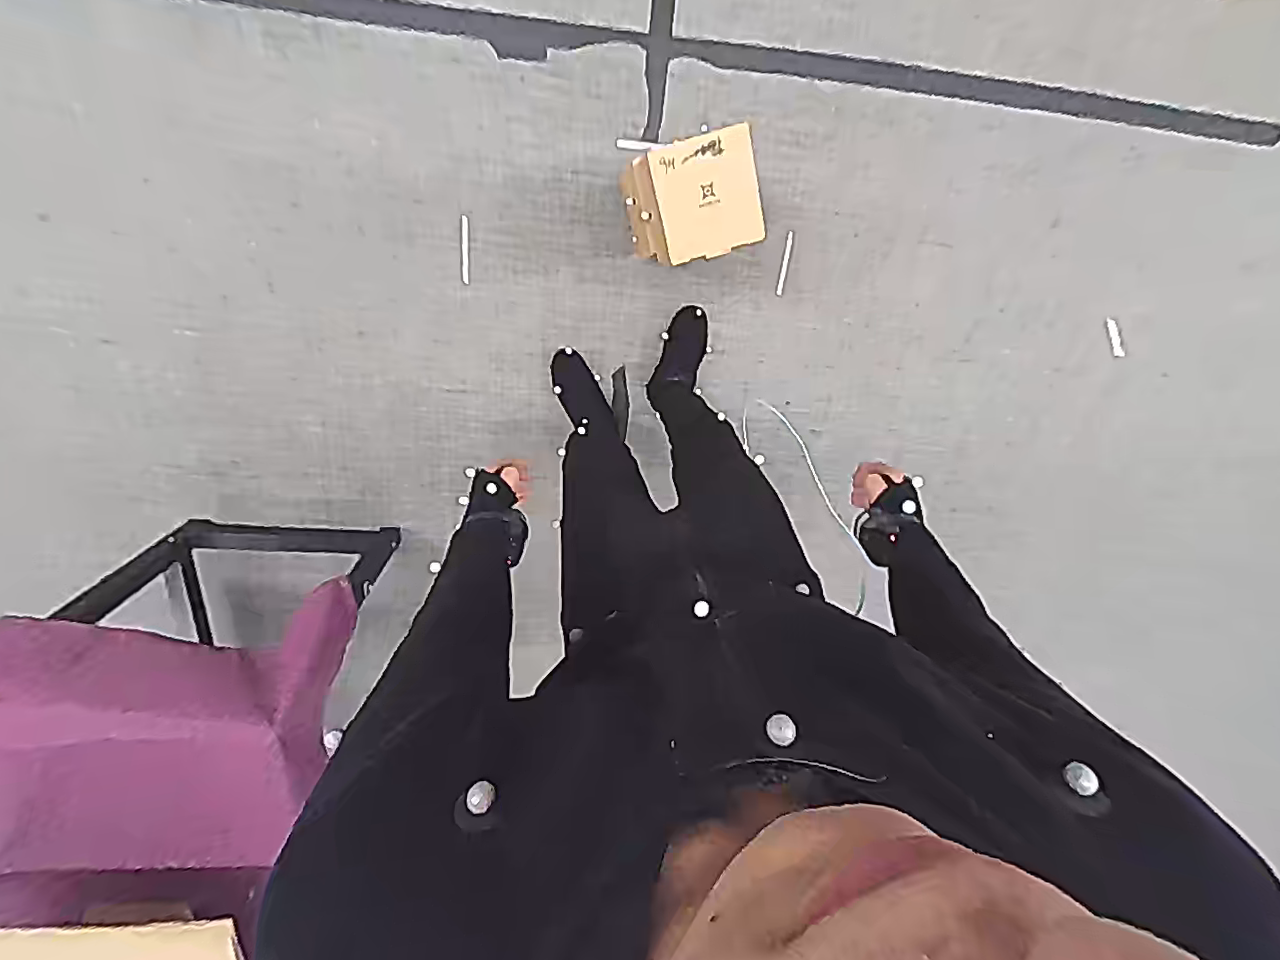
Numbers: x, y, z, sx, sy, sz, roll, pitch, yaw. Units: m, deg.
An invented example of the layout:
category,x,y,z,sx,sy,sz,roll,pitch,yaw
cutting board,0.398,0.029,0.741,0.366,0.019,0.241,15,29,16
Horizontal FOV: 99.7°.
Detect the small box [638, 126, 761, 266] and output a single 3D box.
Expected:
category,x,y,z,sx,sy,sz,roll,pitch,yaw
small box,0.100,-0.492,0.951,0.168,0.176,0.179,-16,115,1
